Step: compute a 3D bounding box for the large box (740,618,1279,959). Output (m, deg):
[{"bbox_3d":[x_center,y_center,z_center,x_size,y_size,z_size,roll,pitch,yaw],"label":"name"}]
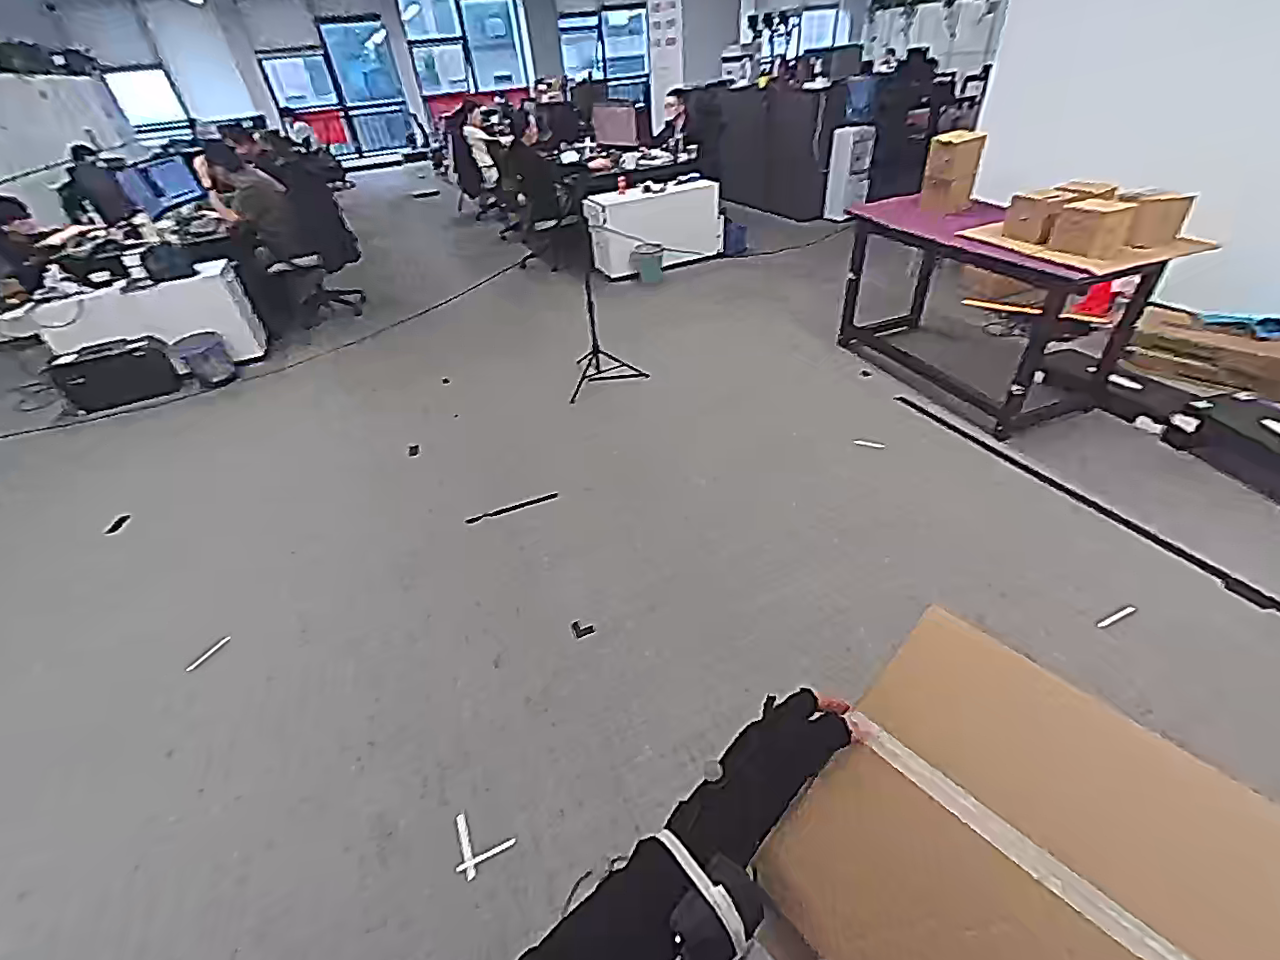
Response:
[{"bbox_3d":[0.348,0.416,0.497,0.320,0.320,0.408,-39,54,-25],"label":"large box"}]
